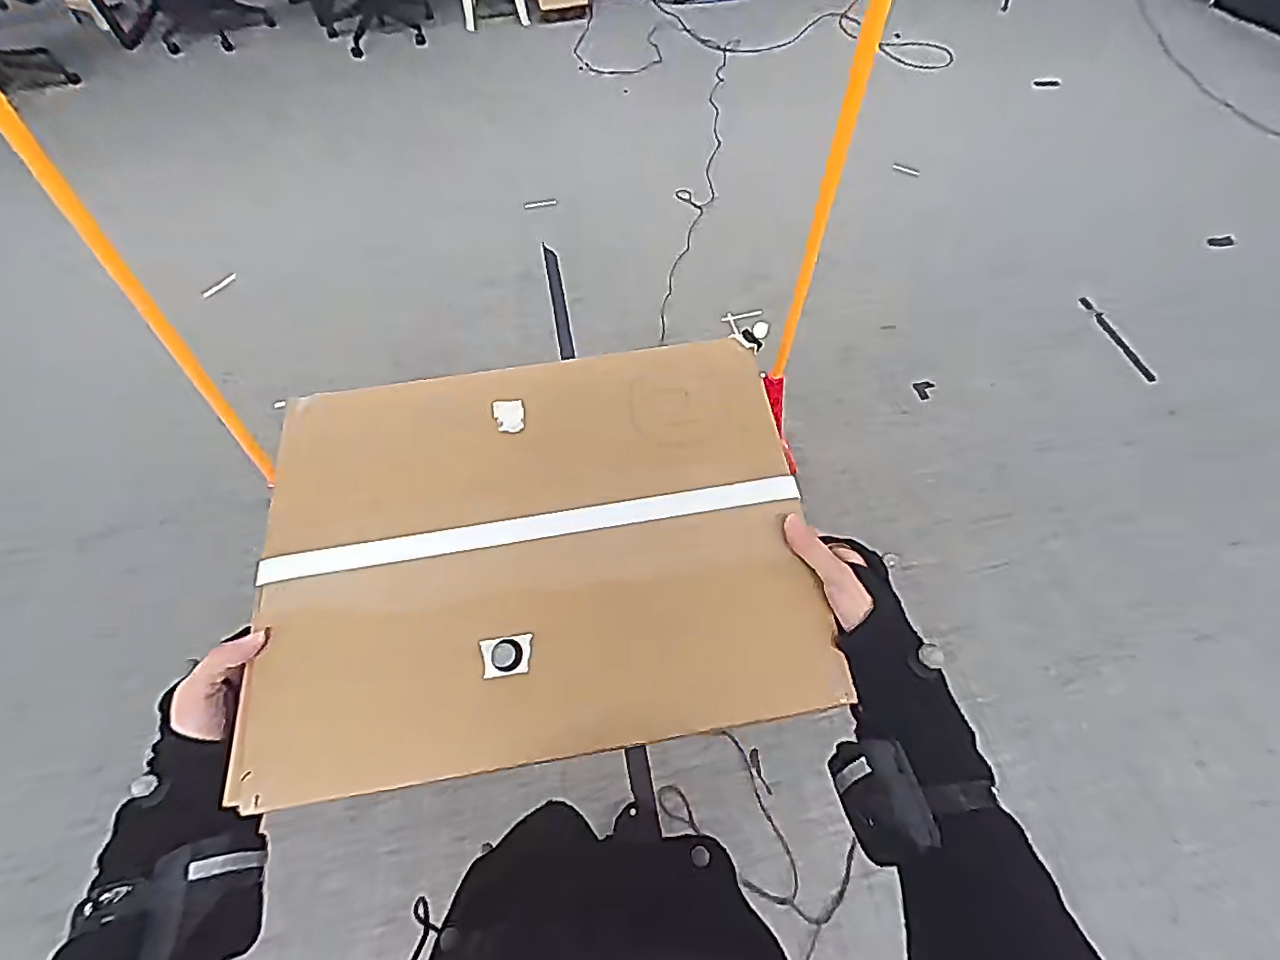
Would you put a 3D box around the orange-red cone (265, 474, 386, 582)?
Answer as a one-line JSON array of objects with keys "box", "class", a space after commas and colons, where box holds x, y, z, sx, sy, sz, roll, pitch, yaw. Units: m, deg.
[{"box": [-0.833, 0.091, 1.386, 0.199, 0.360, 0.198, -19, 60, -8], "class": "orange-red cone"}]
